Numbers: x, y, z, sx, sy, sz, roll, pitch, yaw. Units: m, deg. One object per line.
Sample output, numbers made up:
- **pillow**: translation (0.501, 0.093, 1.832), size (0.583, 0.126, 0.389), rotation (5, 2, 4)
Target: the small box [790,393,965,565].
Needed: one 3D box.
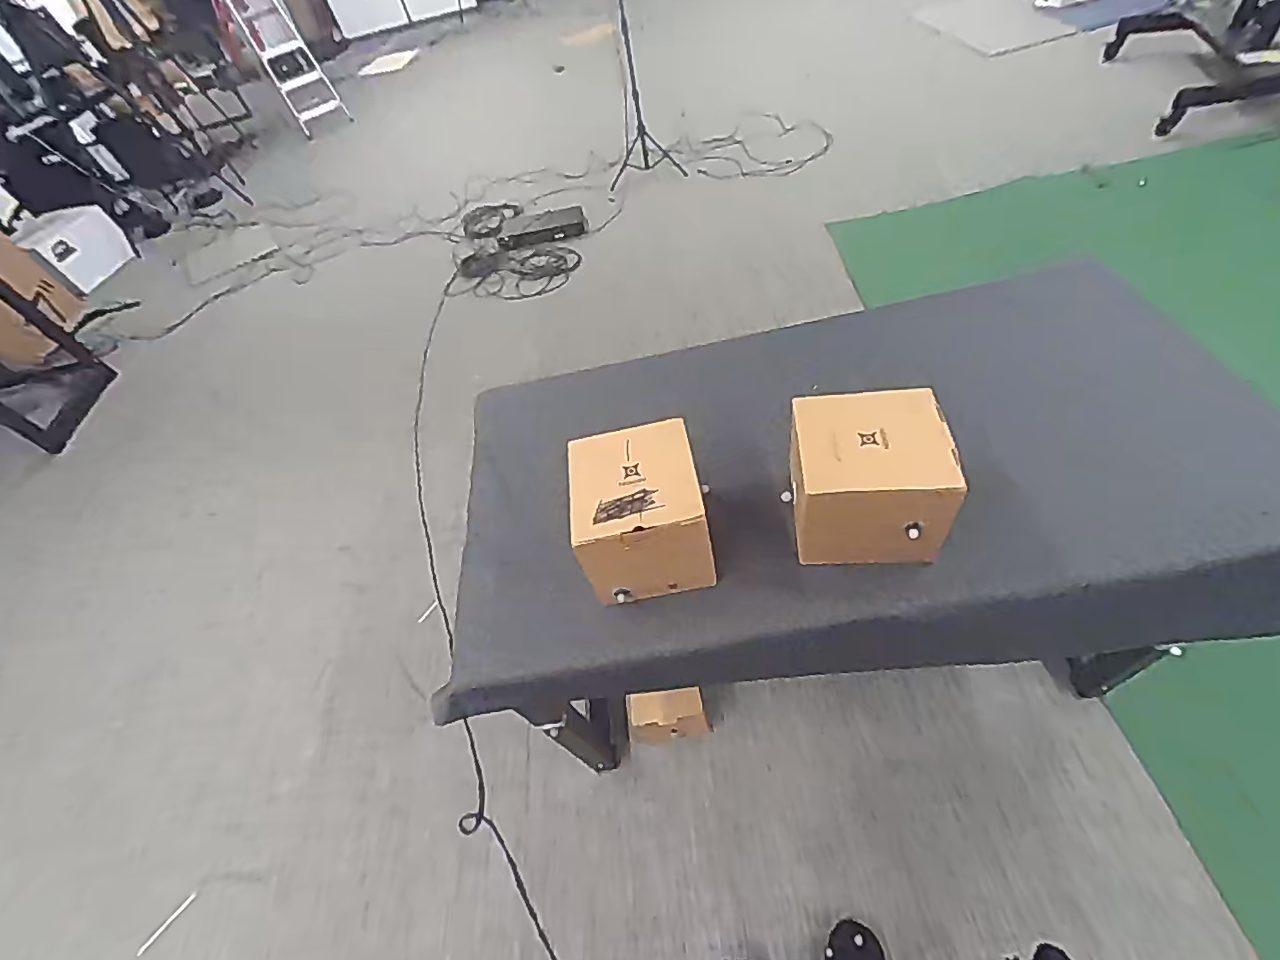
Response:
- **small box**: translation (0.302, 0.005, 0.730), size (0.179, 0.176, 0.168), rotation (-3, 51, 12)

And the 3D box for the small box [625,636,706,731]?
- **small box**: translation (0.064, 0.506, 1.328), size (0.168, 0.176, 0.179), rotation (-11, 52, 5)

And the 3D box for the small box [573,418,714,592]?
- **small box**: translation (0.007, 0.043, 0.761), size (0.168, 0.176, 0.179), rotation (-10, 50, 4)
